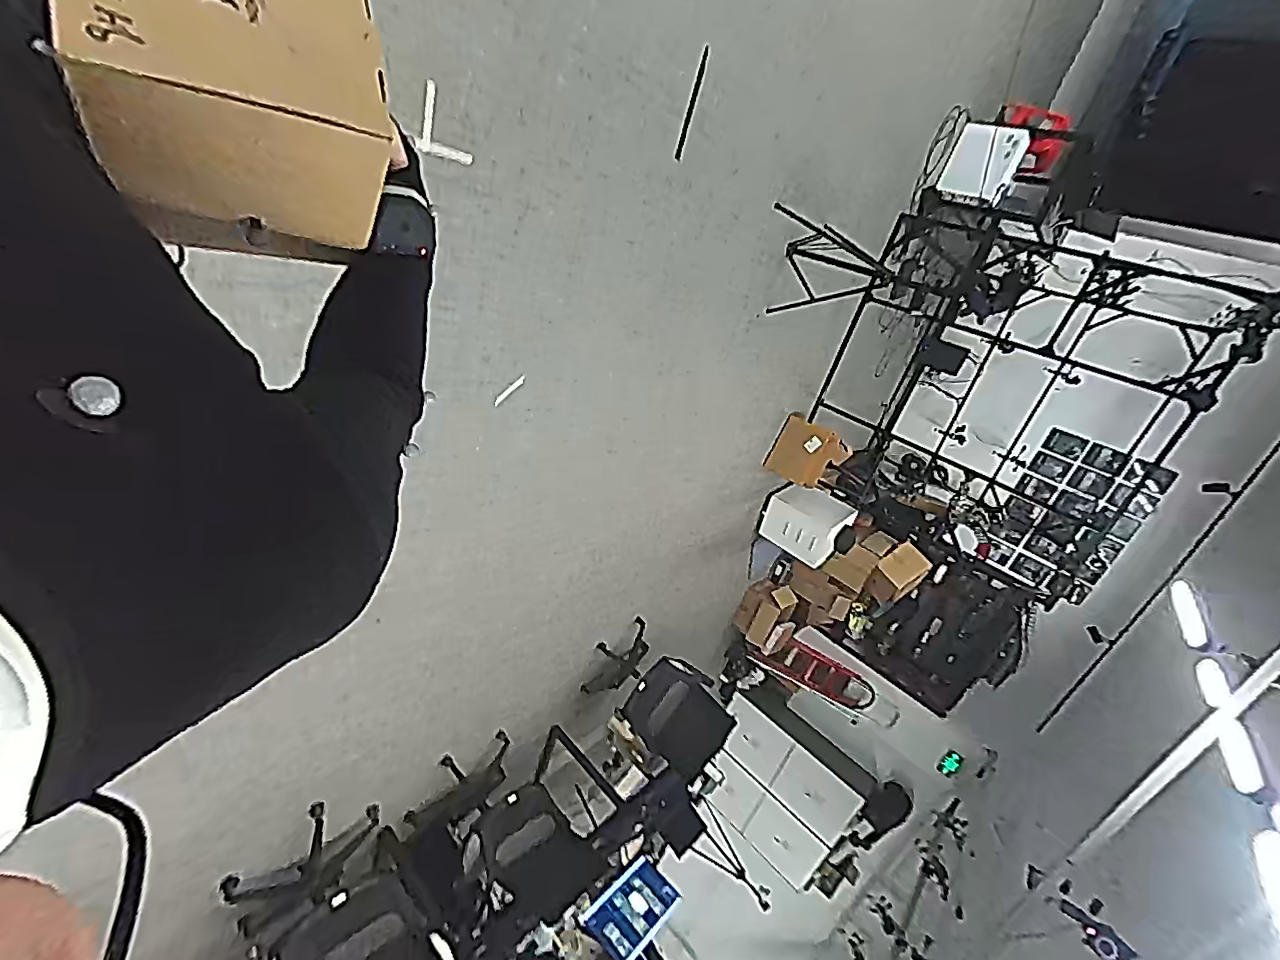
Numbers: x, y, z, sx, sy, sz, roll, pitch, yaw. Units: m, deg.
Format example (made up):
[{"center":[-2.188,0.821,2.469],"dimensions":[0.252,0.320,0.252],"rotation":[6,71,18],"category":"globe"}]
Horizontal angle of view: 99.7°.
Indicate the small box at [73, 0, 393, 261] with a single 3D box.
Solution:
[{"center":[-0.323,-0.304,0.442],"dimensions":[0.179,0.168,0.176],"rotation":[-8,169,-36],"category":"small box"}]
